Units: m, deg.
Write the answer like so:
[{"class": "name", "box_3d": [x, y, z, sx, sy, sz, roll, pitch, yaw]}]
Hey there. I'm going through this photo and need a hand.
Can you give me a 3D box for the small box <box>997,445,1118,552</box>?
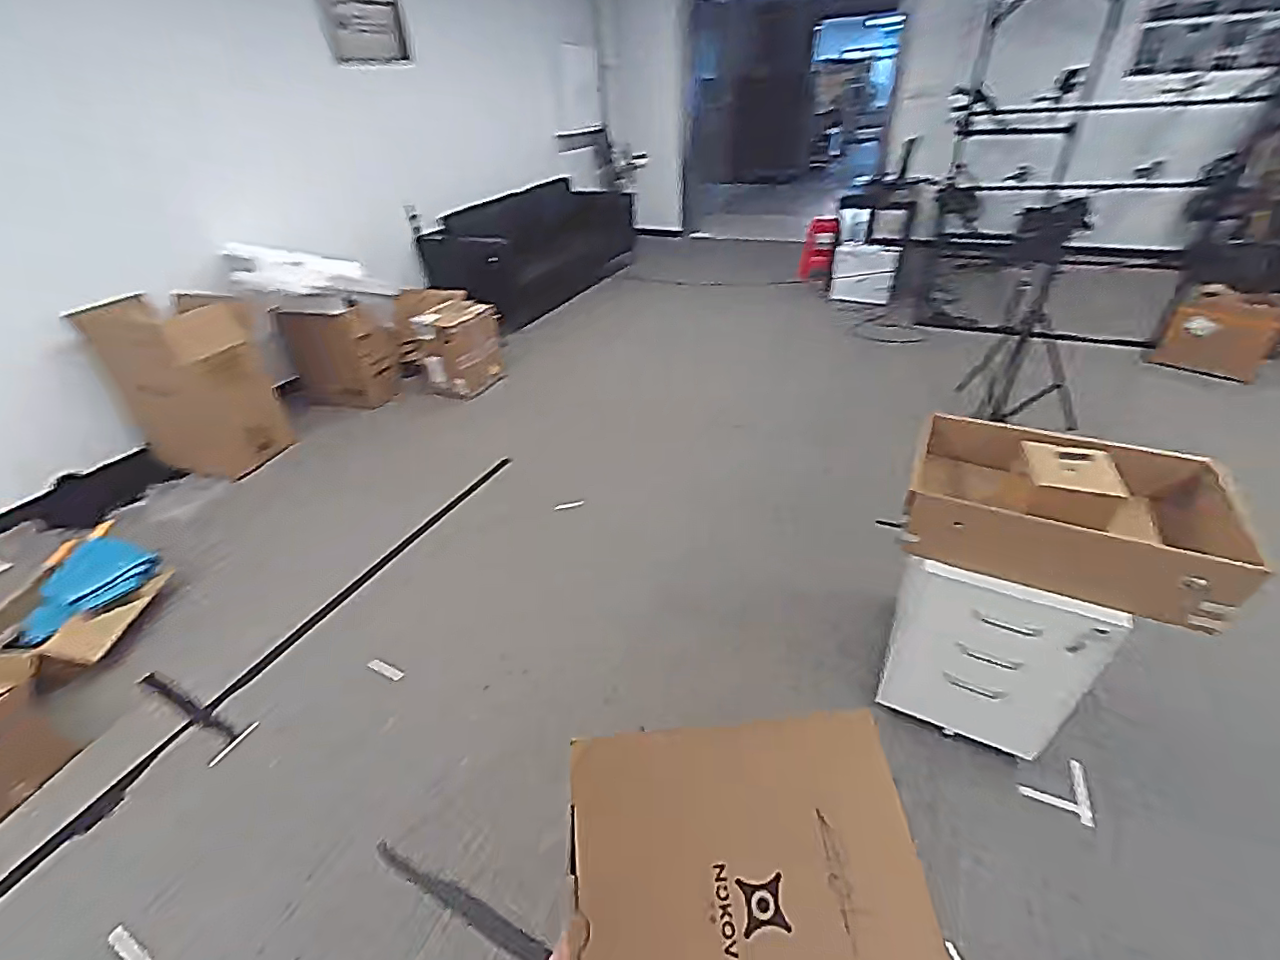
[{"class": "small box", "box_3d": [0.969, 0.041, 1.277, 0.168, 0.176, 0.179, 9, 39, 18]}]
